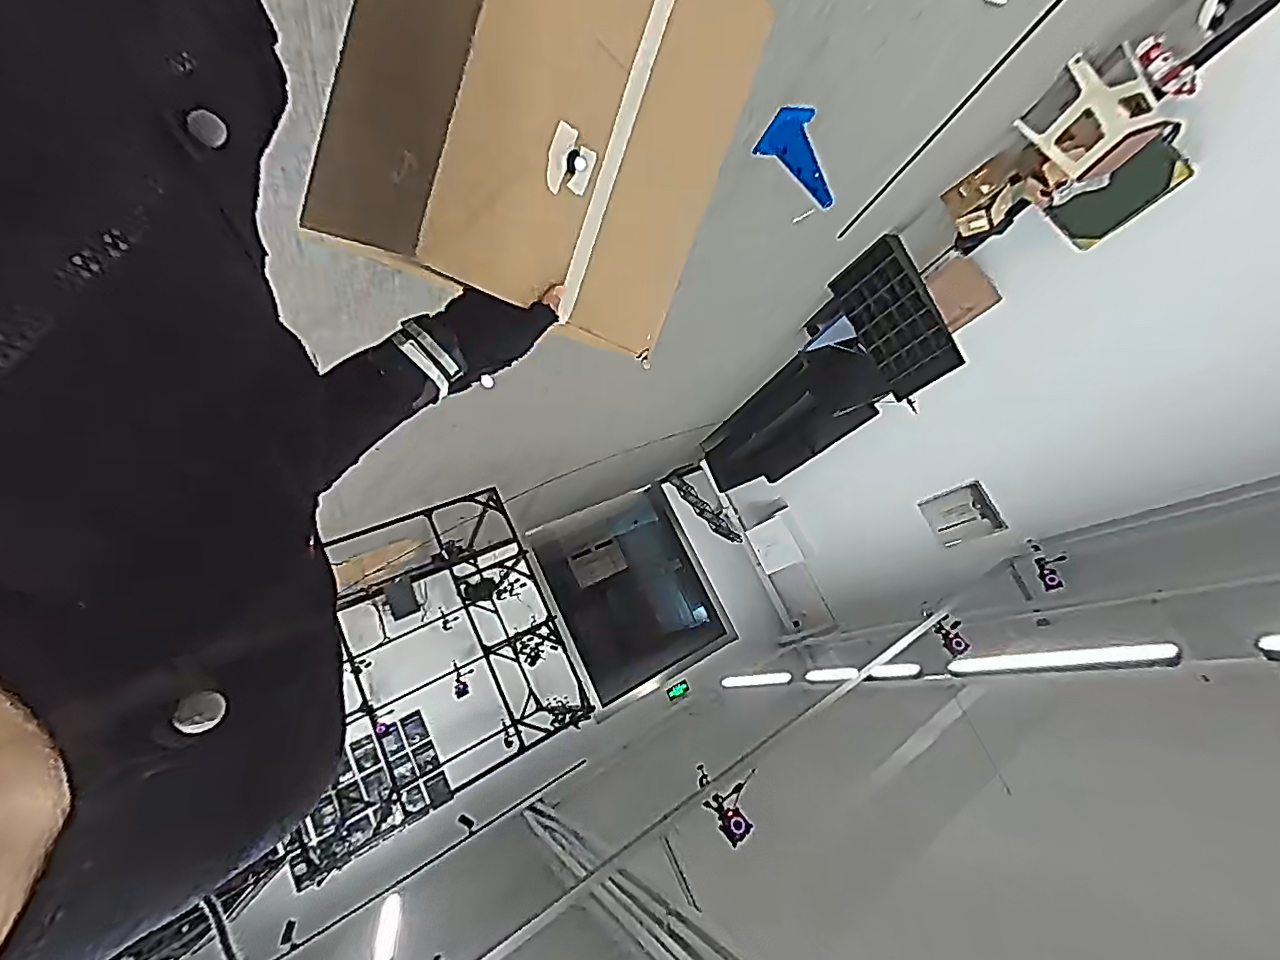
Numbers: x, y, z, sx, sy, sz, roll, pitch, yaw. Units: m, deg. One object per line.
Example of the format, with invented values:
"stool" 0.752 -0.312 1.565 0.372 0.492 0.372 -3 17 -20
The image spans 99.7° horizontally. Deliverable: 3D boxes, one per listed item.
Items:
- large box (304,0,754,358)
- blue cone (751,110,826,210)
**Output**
"large box" -0.134 -0.406 0.624 0.320 0.320 0.408 8 107 -50
"blue cone" 0.616 -1.210 2.082 0.193 0.380 0.192 -20 169 -32
